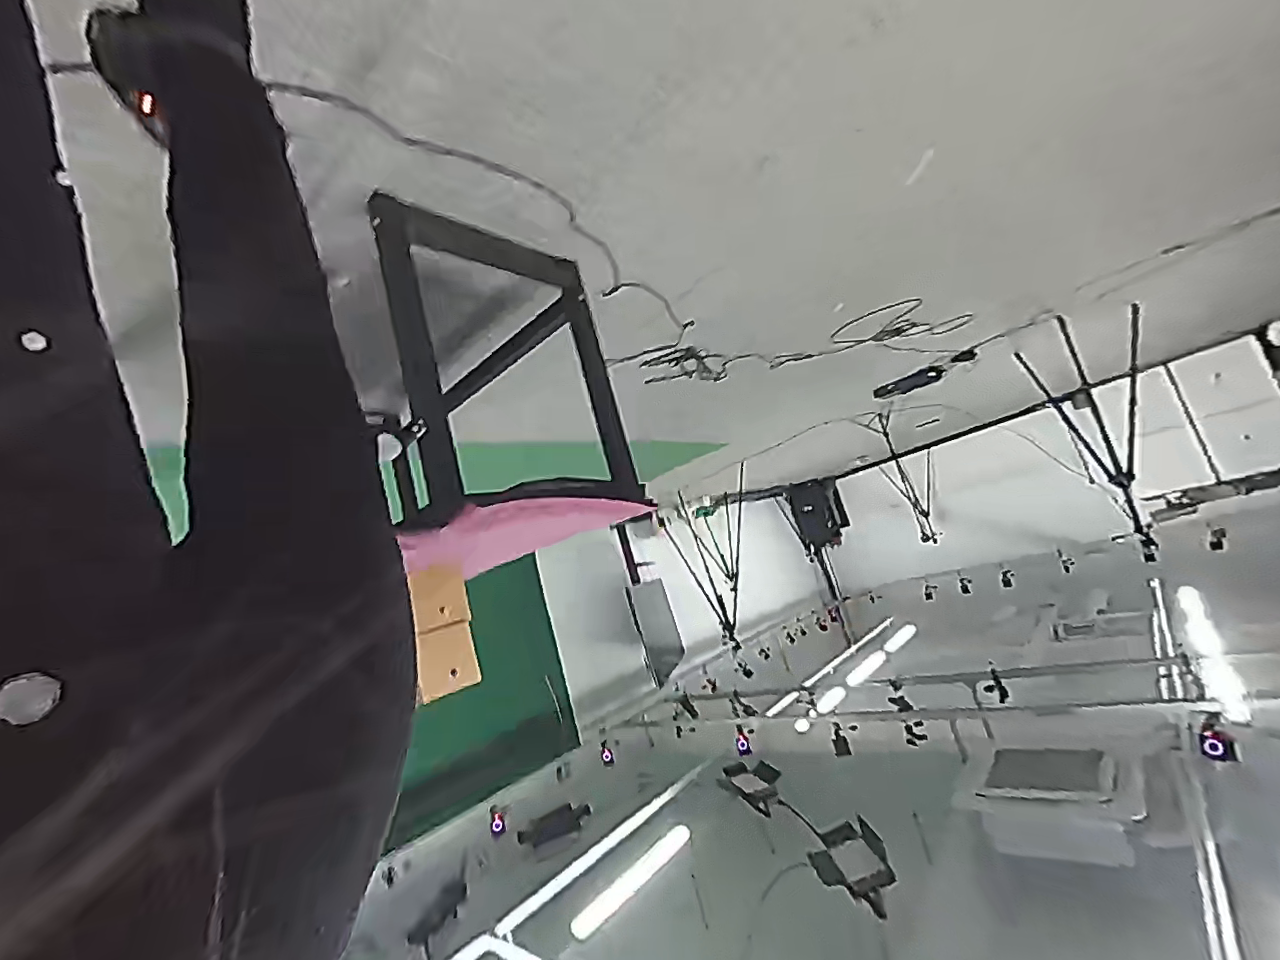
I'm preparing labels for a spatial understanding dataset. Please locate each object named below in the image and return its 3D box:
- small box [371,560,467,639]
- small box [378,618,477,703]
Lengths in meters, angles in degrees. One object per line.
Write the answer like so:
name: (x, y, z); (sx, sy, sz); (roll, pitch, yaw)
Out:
small box: (-0.616, 0.328, 1.504); (0.168, 0.176, 0.179); (-24, 167, 34)
small box: (-0.576, 0.482, 1.460); (0.168, 0.176, 0.179); (-25, 167, 35)
